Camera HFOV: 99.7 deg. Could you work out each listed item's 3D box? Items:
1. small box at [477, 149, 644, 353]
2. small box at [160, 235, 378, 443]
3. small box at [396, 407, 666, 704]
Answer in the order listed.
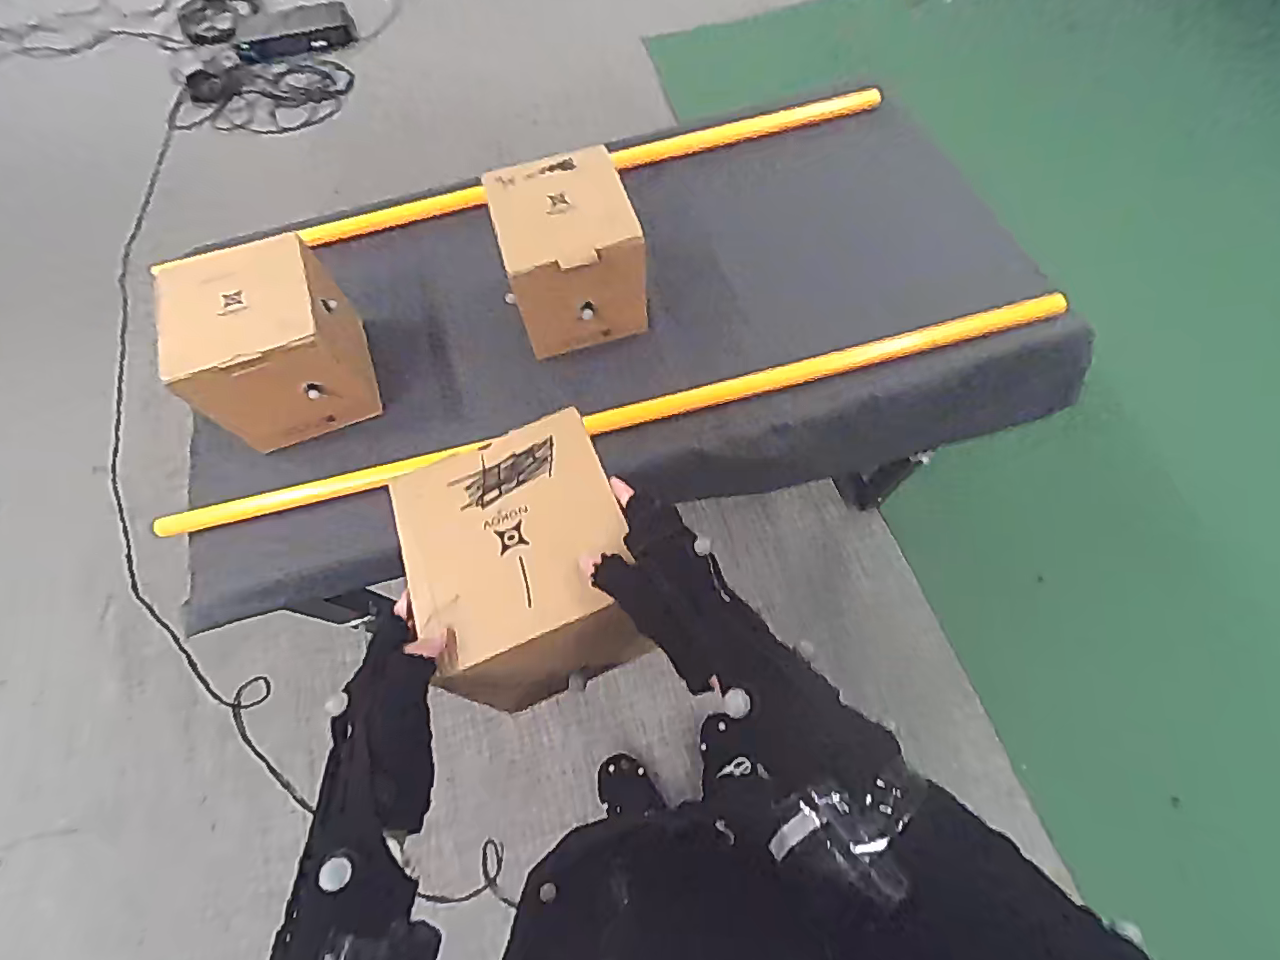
[{"bbox_3d":[-0.099,-0.296,0.733,0.168,0.176,0.179,-20,66,-5],"label":"small box"},{"bbox_3d":[-0.459,-0.167,0.691,0.168,0.176,0.179,-20,66,-8],"label":"small box"},{"bbox_3d":[-0.086,0.074,0.476,0.168,0.176,0.179,-22,60,-4],"label":"small box"}]
